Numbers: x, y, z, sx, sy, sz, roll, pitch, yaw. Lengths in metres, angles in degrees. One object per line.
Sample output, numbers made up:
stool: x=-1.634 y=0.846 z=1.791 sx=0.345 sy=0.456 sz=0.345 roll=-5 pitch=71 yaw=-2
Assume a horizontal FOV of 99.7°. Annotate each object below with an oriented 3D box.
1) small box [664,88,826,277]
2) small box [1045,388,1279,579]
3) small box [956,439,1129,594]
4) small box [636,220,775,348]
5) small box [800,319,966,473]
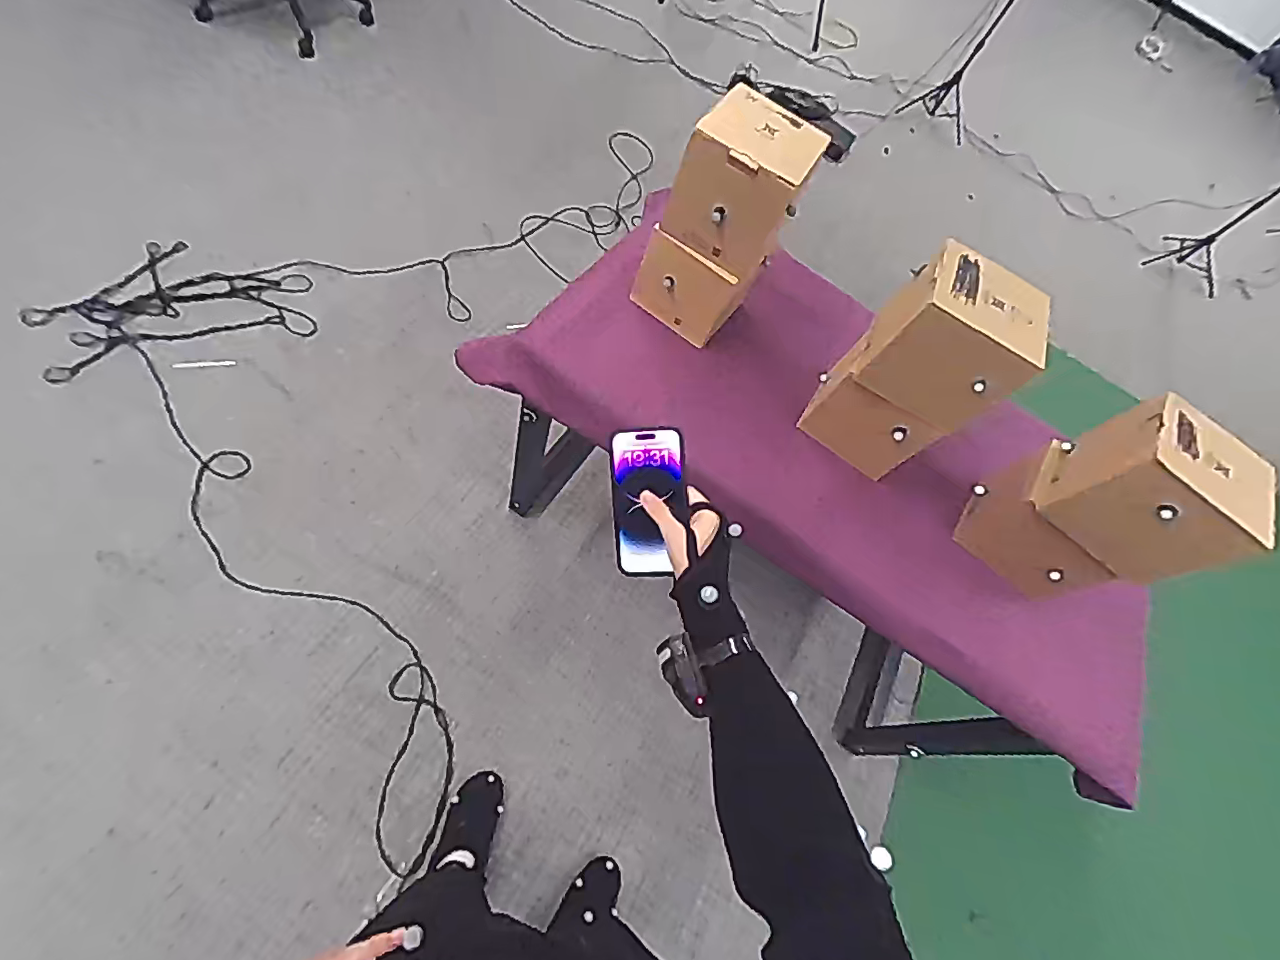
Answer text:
small box: x=0.154 y=-0.455 z=0.844 sx=0.168 sy=0.176 sz=0.179 roll=32 pitch=59 yaw=1
small box: x=0.725 y=0.012 z=0.763 sx=0.179 sy=0.176 sz=0.168 roll=41 pitch=59 yaw=7
small box: x=0.685 y=0.071 z=0.911 sx=0.179 sy=0.176 sz=0.168 roll=41 pitch=59 yaw=8
small box: x=0.109 y=-0.375 z=0.980 sx=0.168 sy=0.176 sz=0.179 roll=36 pitch=59 yaw=4
small box: x=0.416 y=-0.136 z=0.941 sx=0.179 sy=0.176 sz=0.168 roll=35 pitch=59 yaw=4
